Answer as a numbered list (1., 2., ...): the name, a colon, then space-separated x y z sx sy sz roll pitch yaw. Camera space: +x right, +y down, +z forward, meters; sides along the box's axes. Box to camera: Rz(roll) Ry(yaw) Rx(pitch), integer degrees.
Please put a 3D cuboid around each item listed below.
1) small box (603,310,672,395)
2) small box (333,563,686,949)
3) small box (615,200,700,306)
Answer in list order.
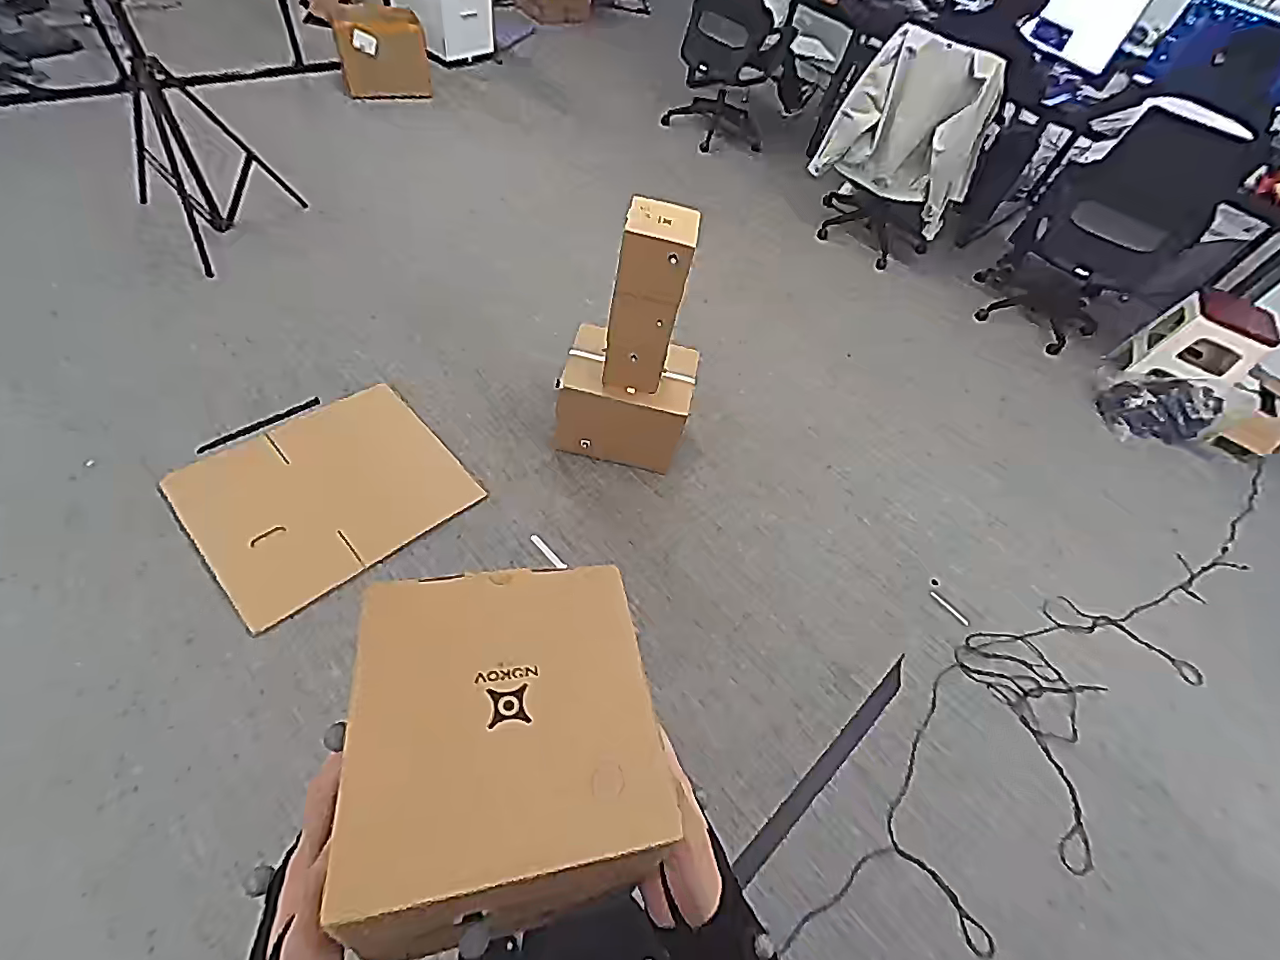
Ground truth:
1. small box: -0.010 -0.381 1.634 0.179 0.176 0.168 11 54 -4
2. small box: -0.086 0.180 0.361 0.168 0.176 0.179 -2 43 -18
3. small box: 0.042 -0.568 1.367 0.179 0.176 0.168 12 53 -3
